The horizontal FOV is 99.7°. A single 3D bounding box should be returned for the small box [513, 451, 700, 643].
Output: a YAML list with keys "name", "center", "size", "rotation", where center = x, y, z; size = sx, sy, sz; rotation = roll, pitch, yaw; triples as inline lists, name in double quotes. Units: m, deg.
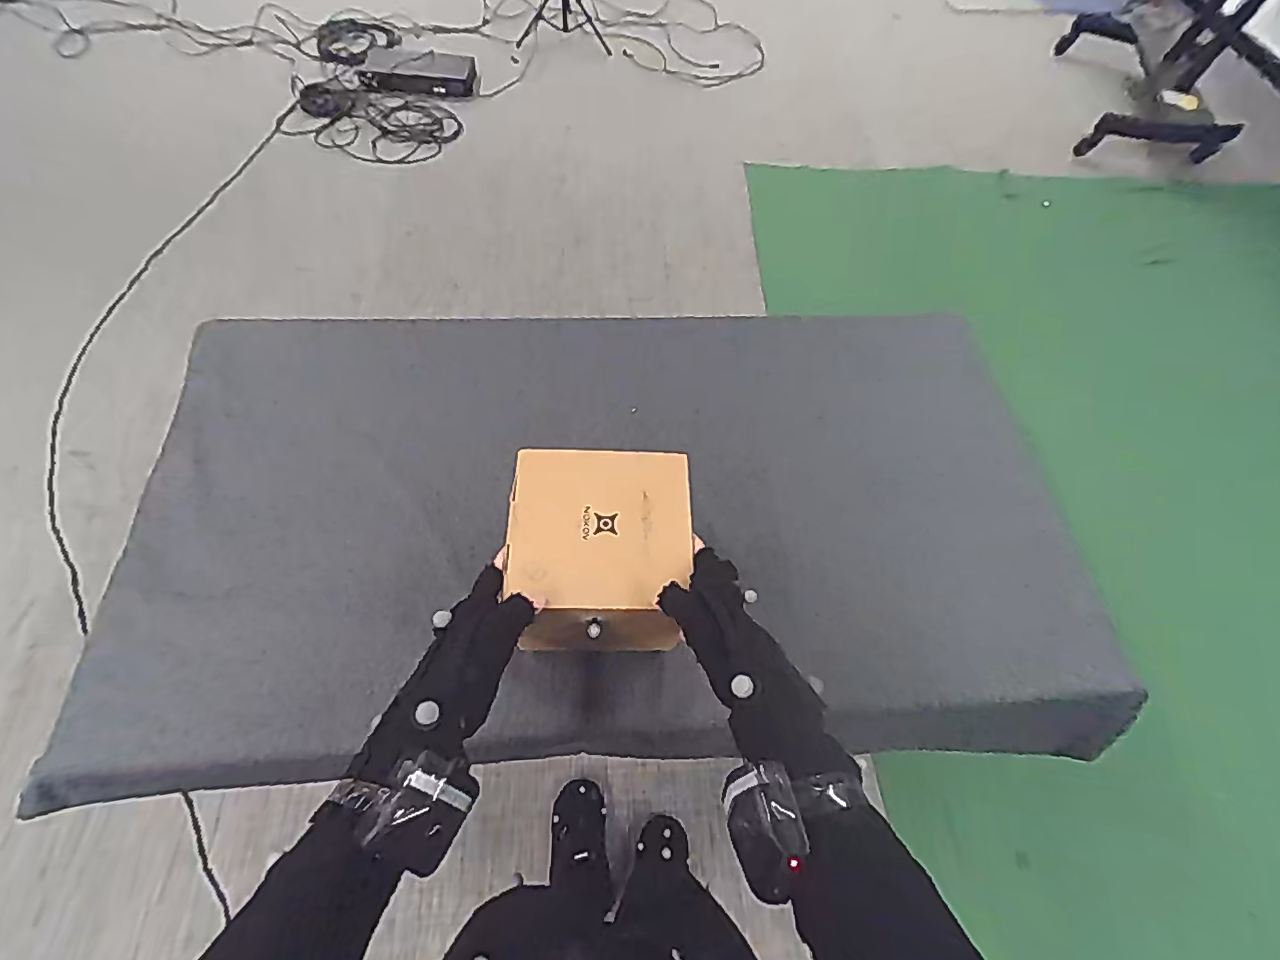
- name: "small box"
  center: [-0.039, 0.082, 0.602]
  size: [0.179, 0.176, 0.168]
  rotation: [1, 61, -6]
